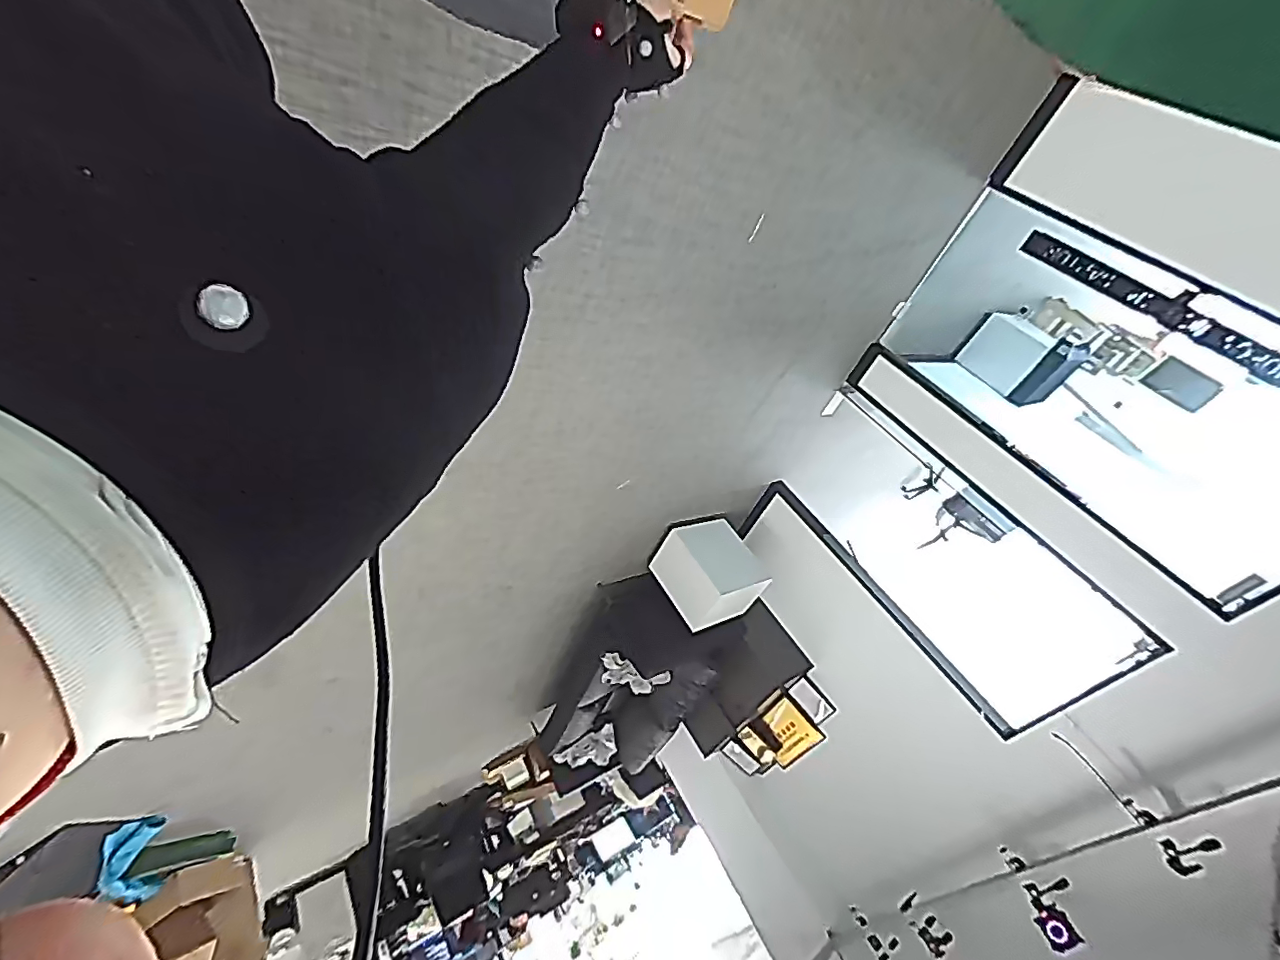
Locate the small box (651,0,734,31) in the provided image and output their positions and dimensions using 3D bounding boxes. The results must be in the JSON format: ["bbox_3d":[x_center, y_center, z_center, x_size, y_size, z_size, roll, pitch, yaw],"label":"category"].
[{"bbox_3d":[0.020,-0.627,0.570,0.168,0.176,0.179,-10,141,-36],"label":"small box"}]
